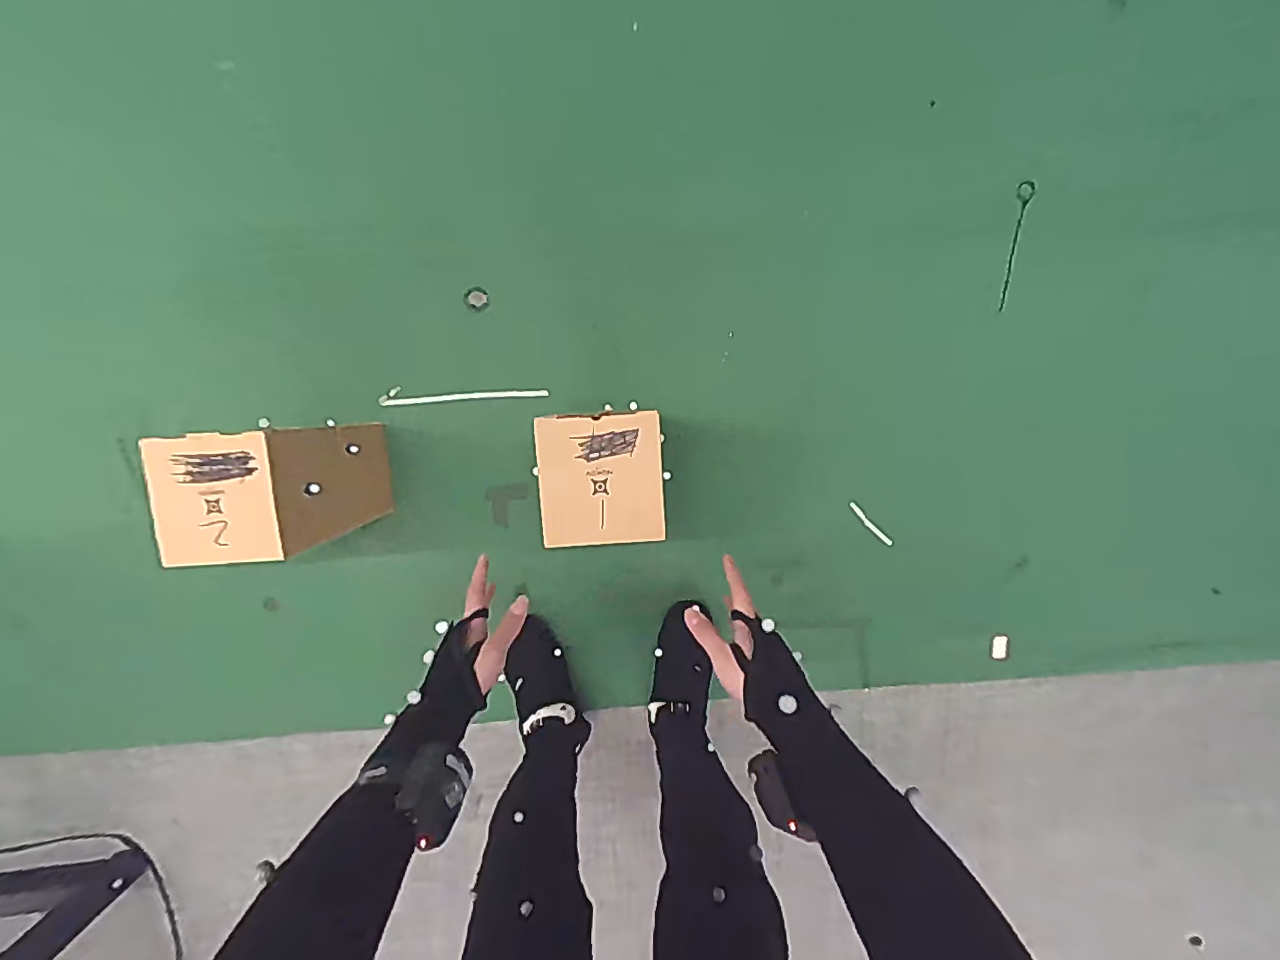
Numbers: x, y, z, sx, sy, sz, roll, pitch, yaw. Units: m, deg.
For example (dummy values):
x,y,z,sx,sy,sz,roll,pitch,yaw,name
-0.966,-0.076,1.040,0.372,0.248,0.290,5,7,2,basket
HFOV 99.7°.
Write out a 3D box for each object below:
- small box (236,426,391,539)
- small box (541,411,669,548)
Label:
x,y,z,sx,sy,sz,roll,pitch,yaw,name
-0.556,-0.003,0.947,0.168,0.176,0.179,-4,96,0,small box
-0.048,-0.007,0.789,0.168,0.176,0.179,-3,97,-1,small box
